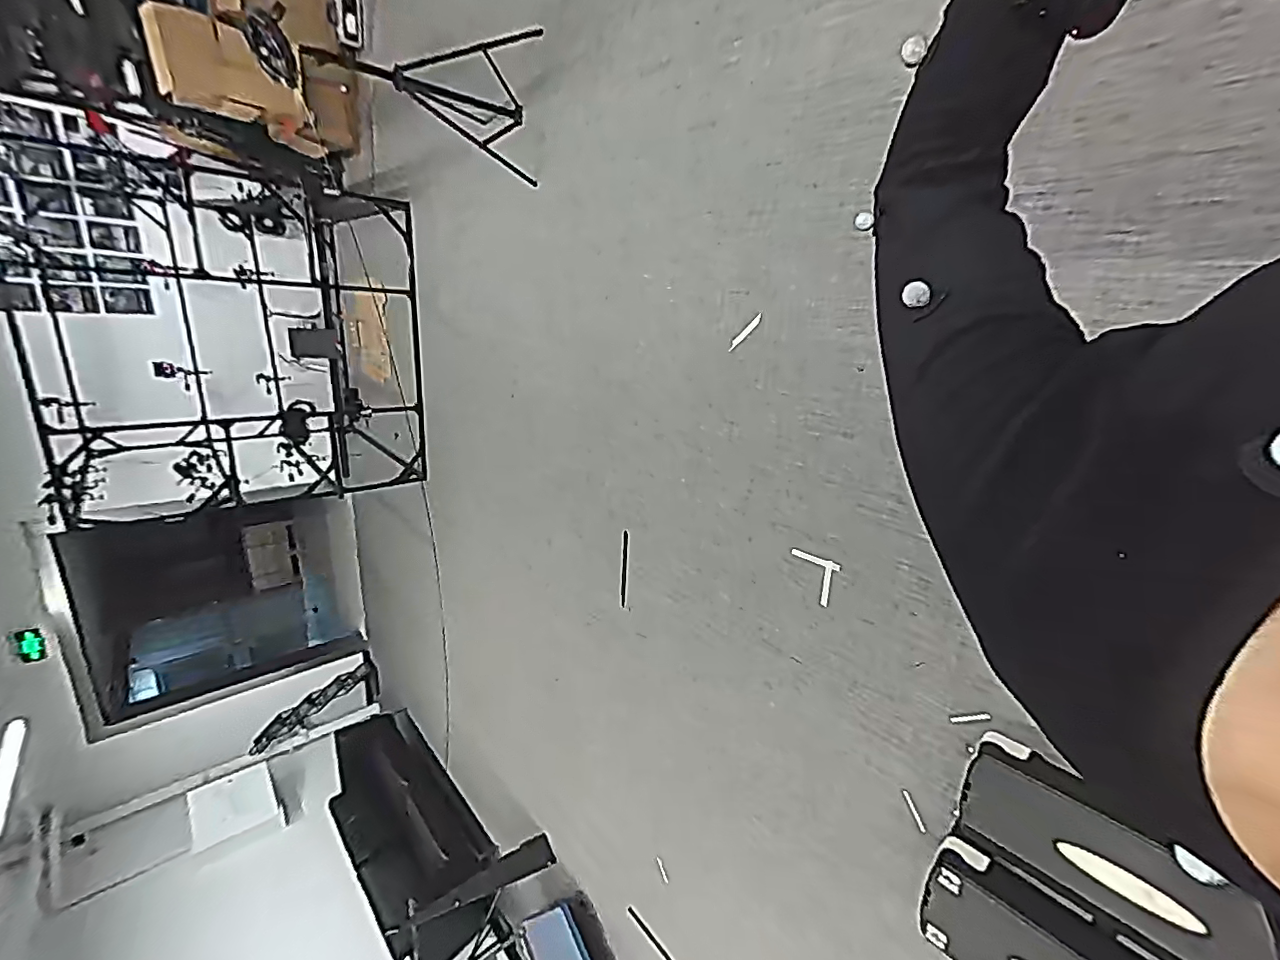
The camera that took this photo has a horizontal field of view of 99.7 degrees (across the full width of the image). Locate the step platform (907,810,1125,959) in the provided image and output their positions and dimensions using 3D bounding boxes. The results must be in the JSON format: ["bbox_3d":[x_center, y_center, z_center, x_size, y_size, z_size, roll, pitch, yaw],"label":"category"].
[{"bbox_3d":[1.021,1.154,1.296,0.684,0.204,0.286,20,113,47],"label":"step platform"}]
